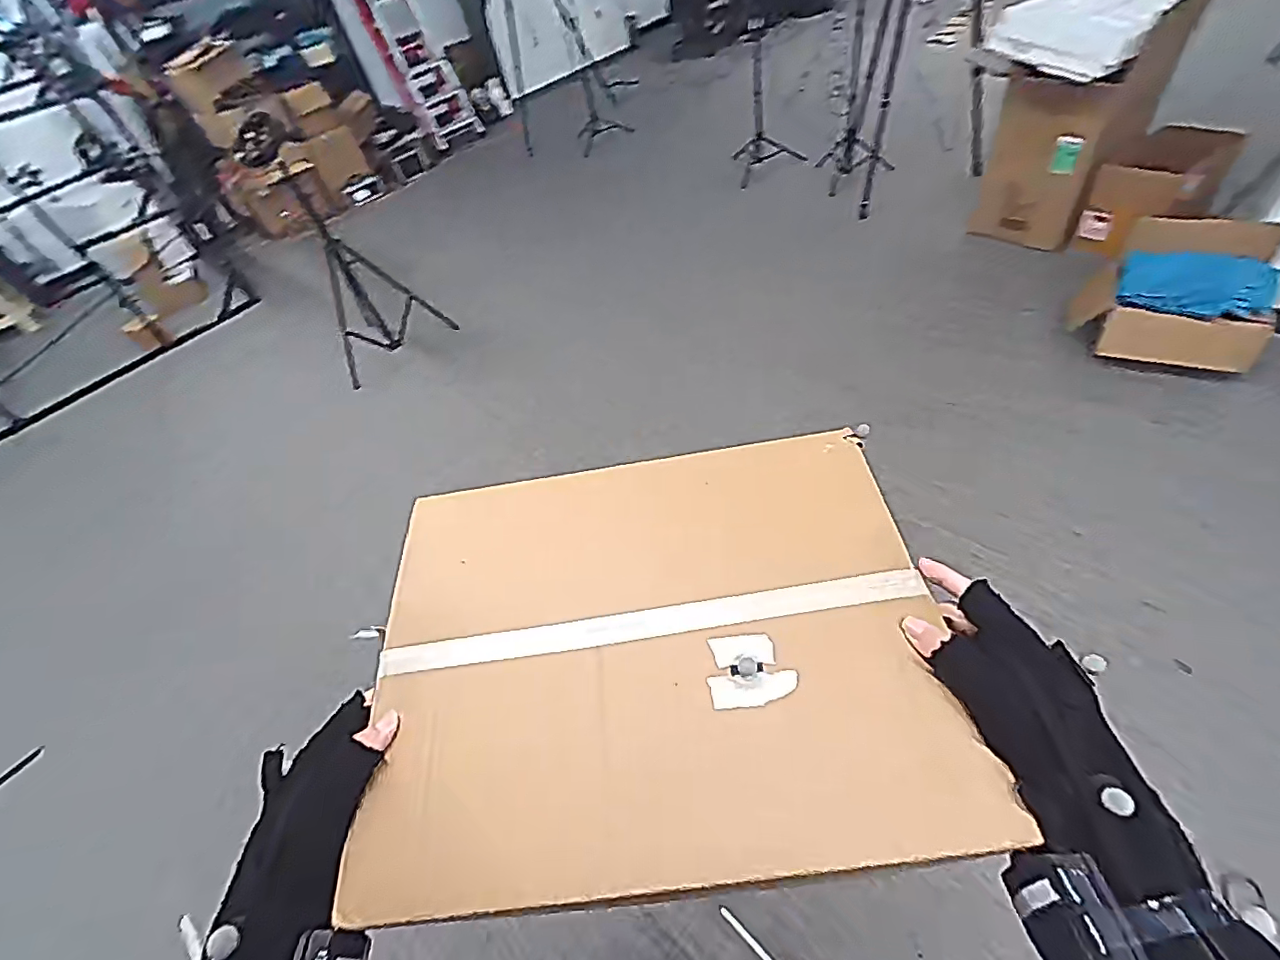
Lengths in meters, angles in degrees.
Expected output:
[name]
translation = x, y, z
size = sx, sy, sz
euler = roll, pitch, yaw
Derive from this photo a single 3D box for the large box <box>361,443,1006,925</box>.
[large box]
translation = 0.025, 0.208, 0.530
size = 0.408, 0.320, 0.320
euler = -10, 52, 2
